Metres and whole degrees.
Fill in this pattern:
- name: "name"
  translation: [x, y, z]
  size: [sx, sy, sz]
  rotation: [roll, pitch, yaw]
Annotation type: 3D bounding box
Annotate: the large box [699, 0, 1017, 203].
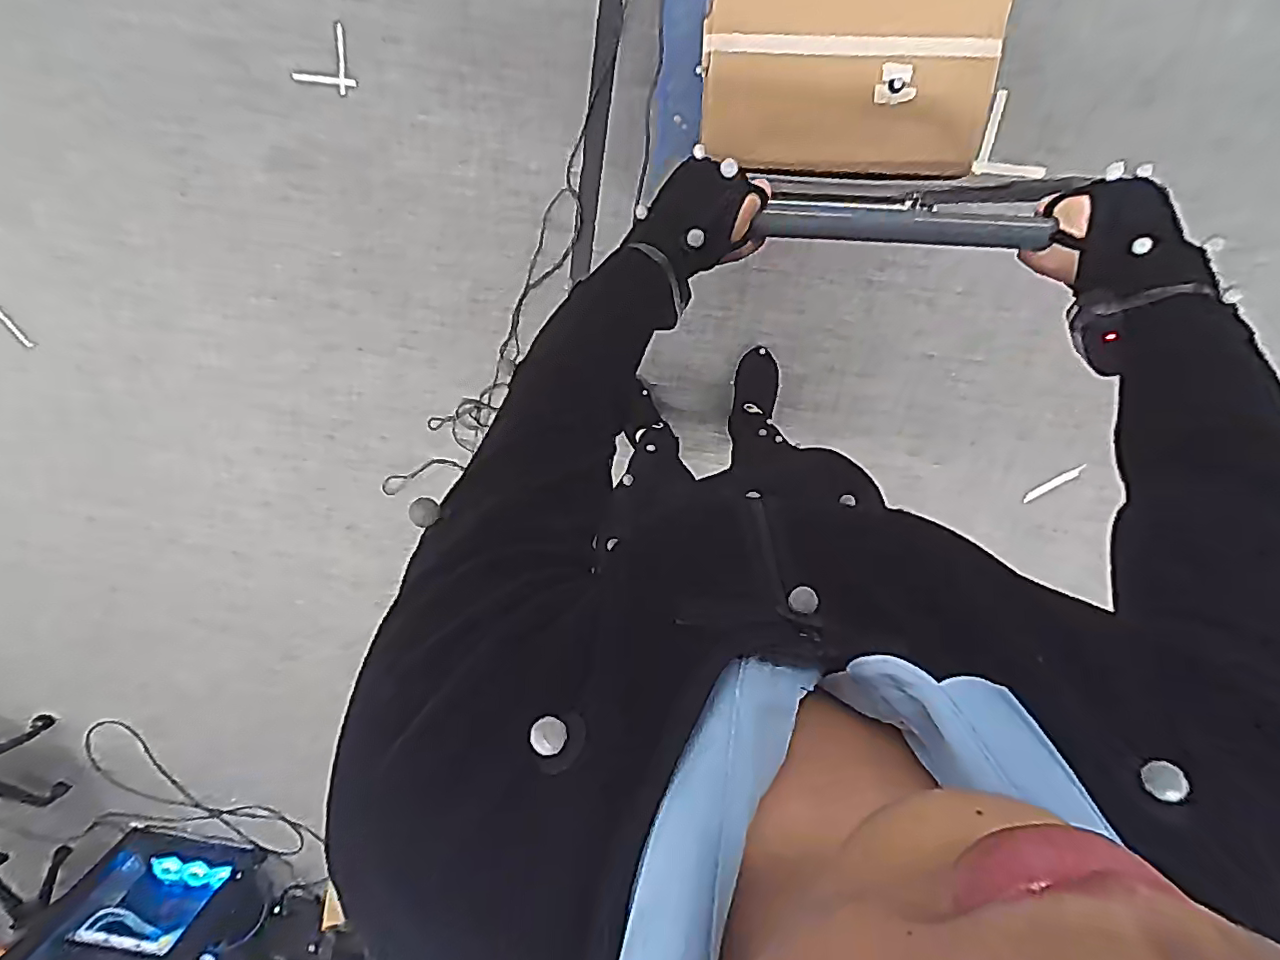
- name: "large box"
  translation: [0.310, -0.647, 0.892]
  size: [0.408, 0.320, 0.320]
  rotation: [4, 113, 2]
